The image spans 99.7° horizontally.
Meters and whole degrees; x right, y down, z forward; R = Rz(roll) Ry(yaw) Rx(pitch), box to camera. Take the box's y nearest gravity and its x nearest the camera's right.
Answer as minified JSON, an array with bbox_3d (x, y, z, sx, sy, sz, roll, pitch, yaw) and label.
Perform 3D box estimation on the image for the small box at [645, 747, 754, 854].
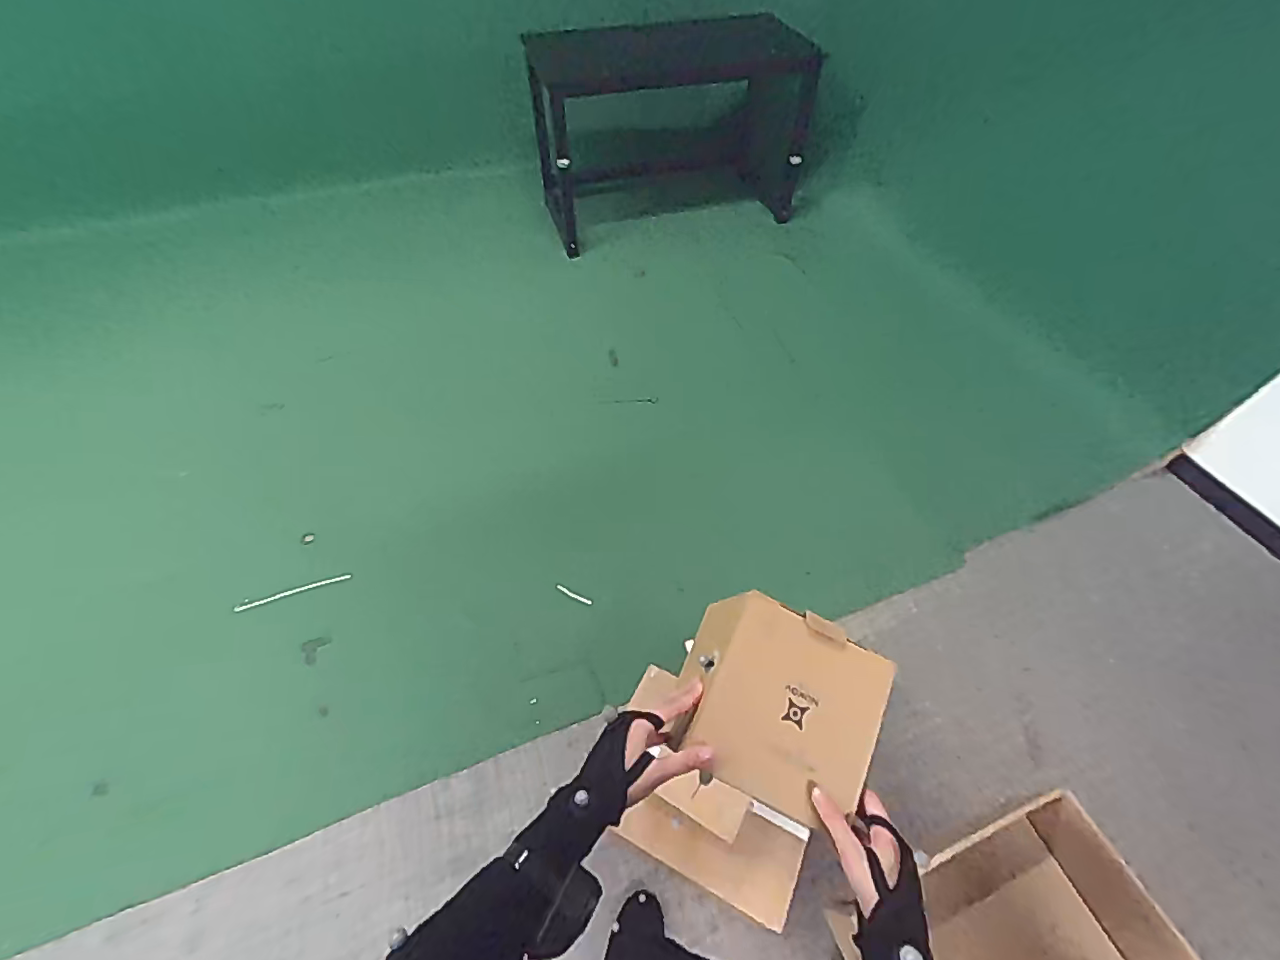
[{"bbox_3d":[0.117,0.528,0.965,0.168,0.176,0.179,26,58,18],"label":"small box"}]

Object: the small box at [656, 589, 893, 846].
[{"bbox_3d":[0.131,0.241,0.583,0.168,0.176,0.179,28,70,1],"label":"small box"}]
